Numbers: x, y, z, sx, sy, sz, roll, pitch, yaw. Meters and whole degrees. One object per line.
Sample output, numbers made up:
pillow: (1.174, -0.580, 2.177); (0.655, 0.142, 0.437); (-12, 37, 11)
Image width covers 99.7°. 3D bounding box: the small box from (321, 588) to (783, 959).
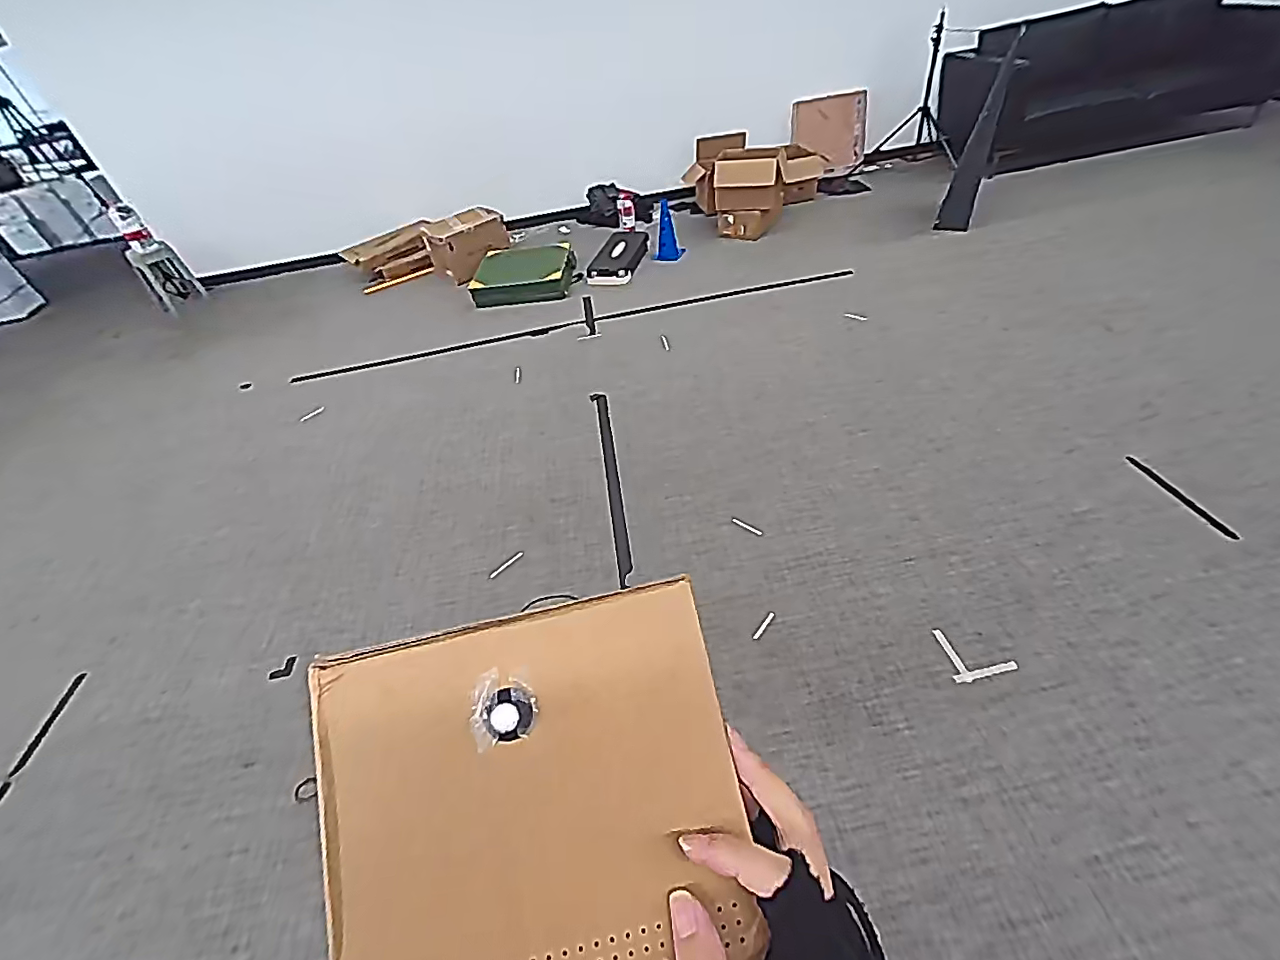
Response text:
small box: (-0.043, 0.166, 0.304); (0.179, 0.168, 0.176); (-12, 77, -5)
